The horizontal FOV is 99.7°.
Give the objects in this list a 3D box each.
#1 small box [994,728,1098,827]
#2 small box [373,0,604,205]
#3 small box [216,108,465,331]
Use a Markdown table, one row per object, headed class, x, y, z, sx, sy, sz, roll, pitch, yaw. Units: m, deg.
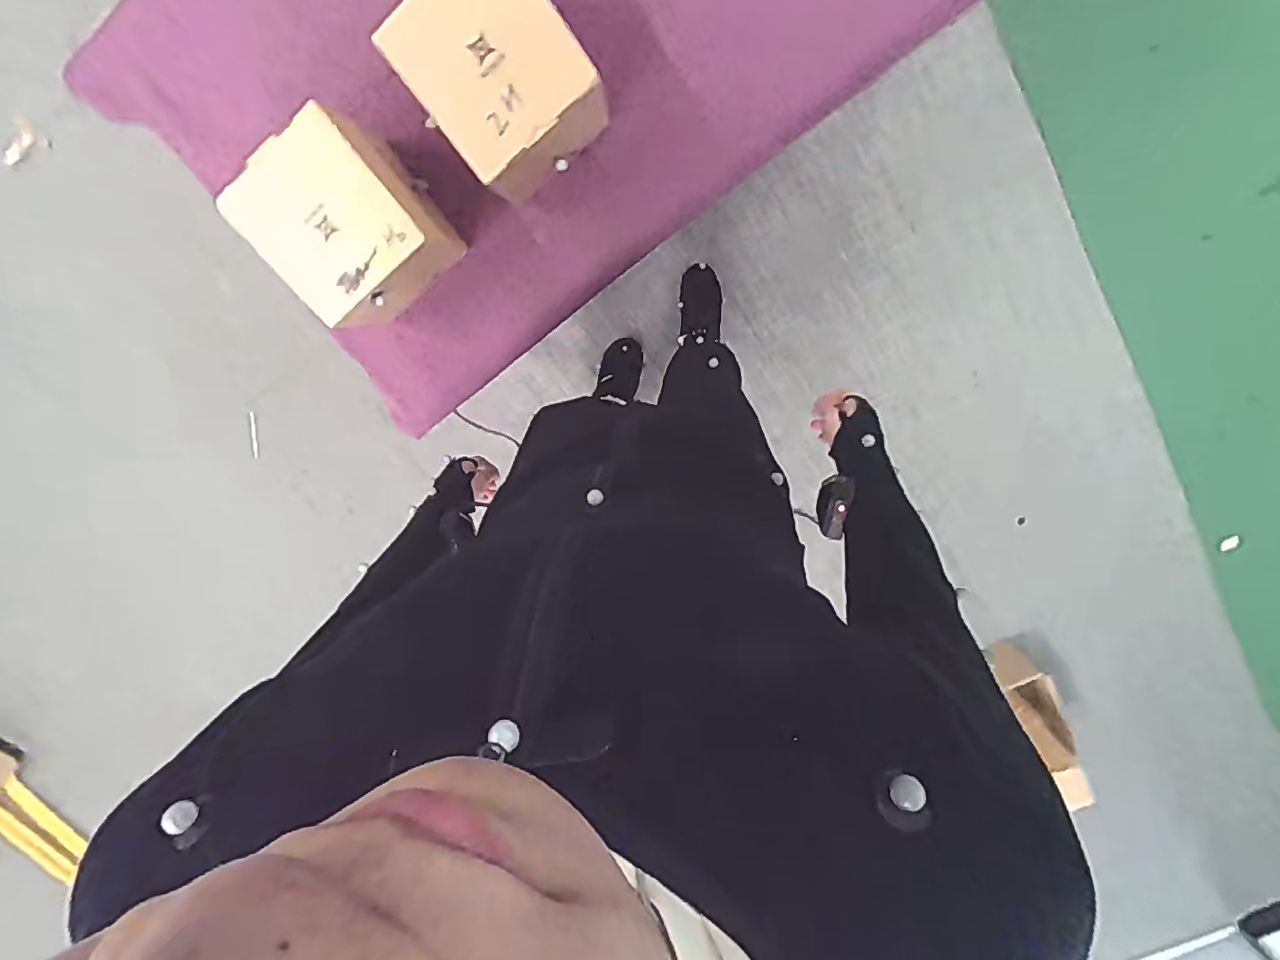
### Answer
| class | x | y | z | sx | sy | sz | roll | pitch | yaw |
| --- | --- | --- | --- | --- | --- | --- | --- | --- | --- |
| small box | 1.225 | 0.898 | 1.640 | 0.168 | 0.176 | 0.179 | -29 | 107 | 11 |
| small box | -0.159 | -0.456 | 0.633 | 0.168 | 0.176 | 0.179 | -36 | 106 | 12 |
| small box | -0.358 | -0.309 | 0.682 | 0.168 | 0.176 | 0.179 | -35 | 105 | 12 |
